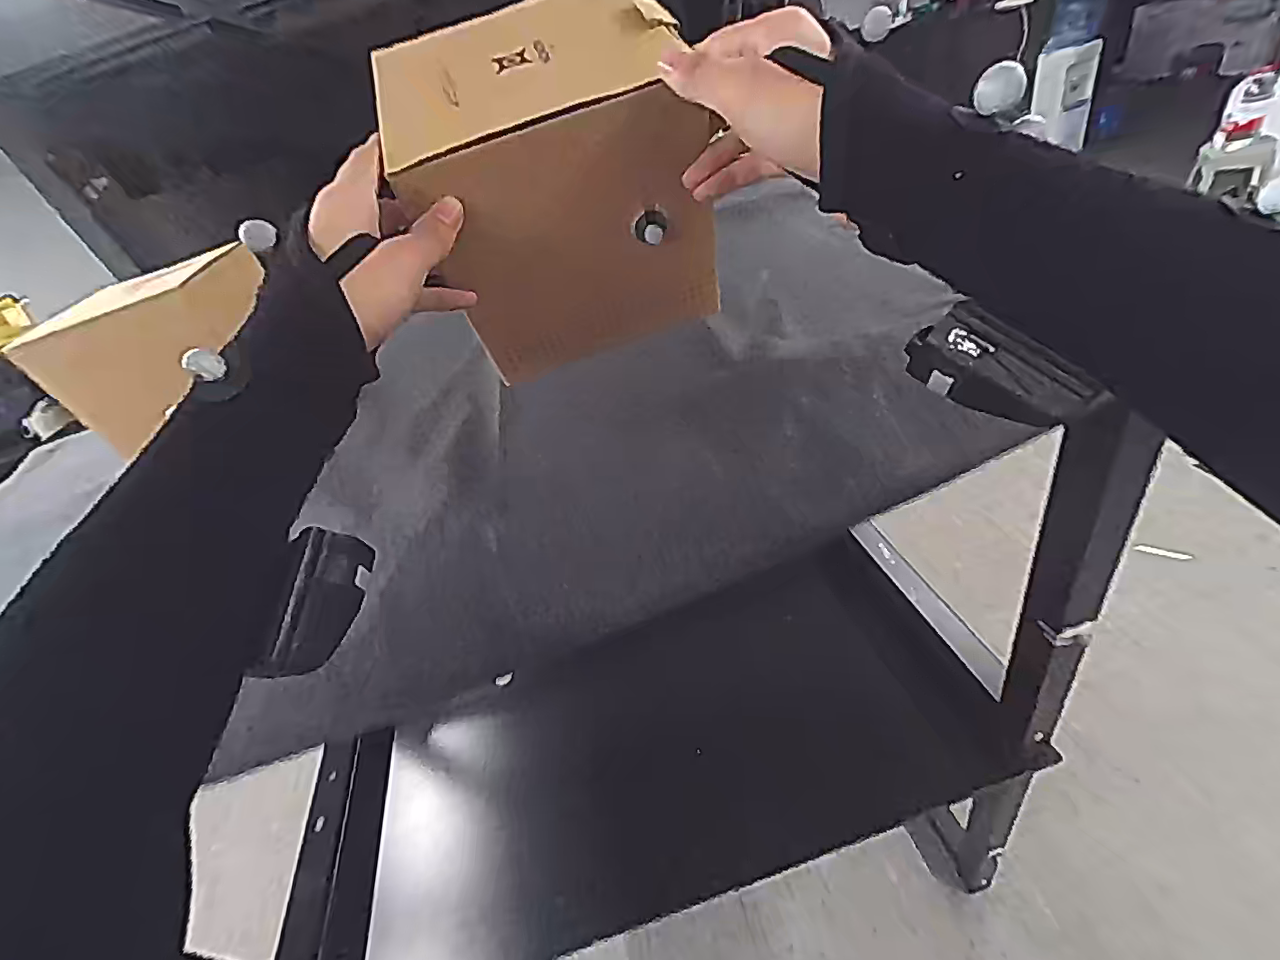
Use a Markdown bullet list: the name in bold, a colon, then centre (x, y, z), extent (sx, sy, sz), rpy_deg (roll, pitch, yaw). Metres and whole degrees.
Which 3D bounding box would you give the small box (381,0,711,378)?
- **small box**: centre (-0.057, -0.204, 0.388), extent (0.179, 0.176, 0.168), rpy_deg (-20, 57, -1)
